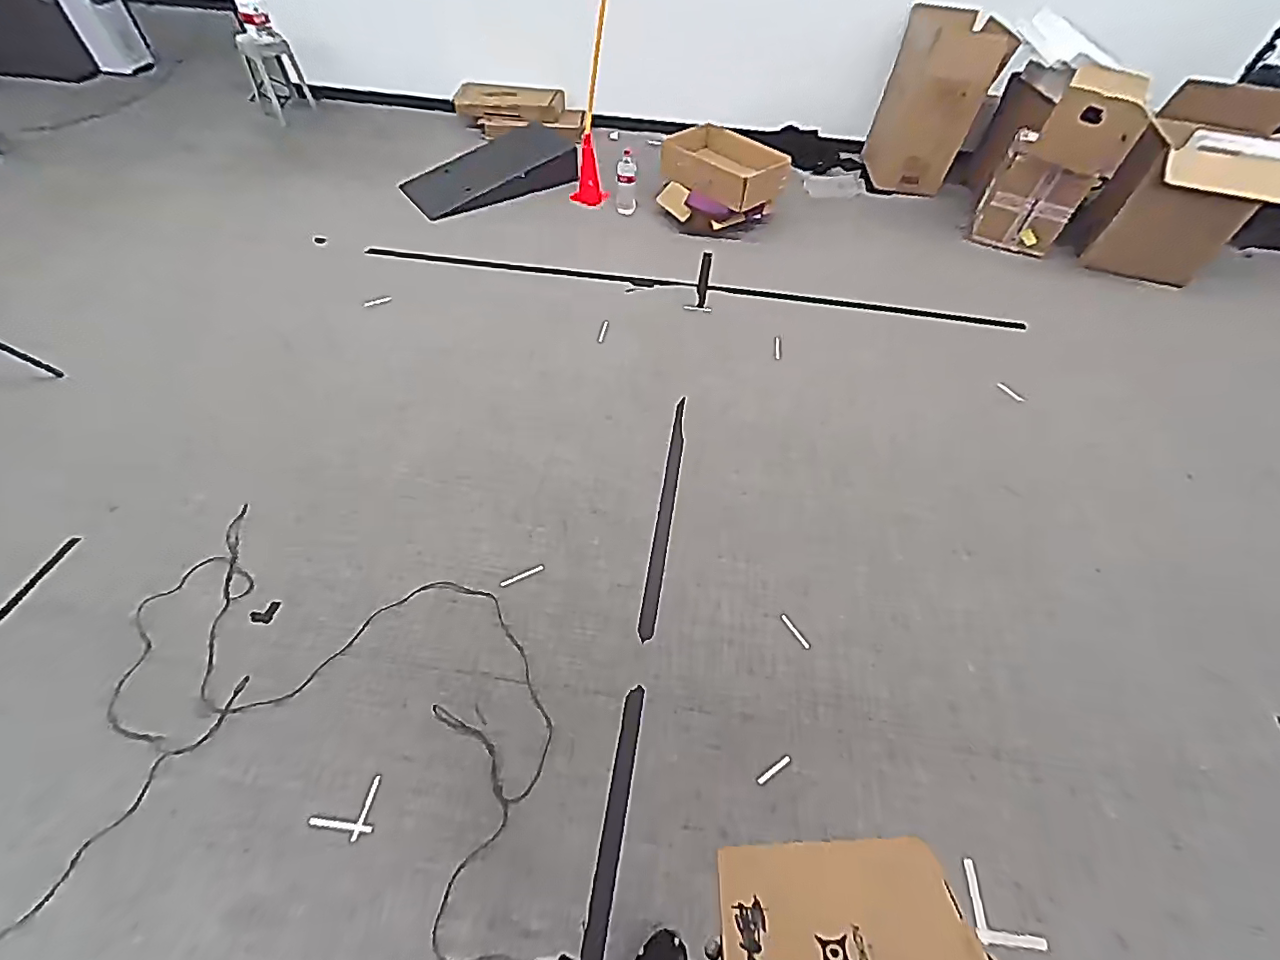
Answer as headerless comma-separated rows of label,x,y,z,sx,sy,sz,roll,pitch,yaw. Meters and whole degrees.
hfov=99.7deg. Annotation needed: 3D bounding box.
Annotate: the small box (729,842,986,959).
small box,0.165,0.415,0.411,0.179,0.176,0.168,-6,16,7
